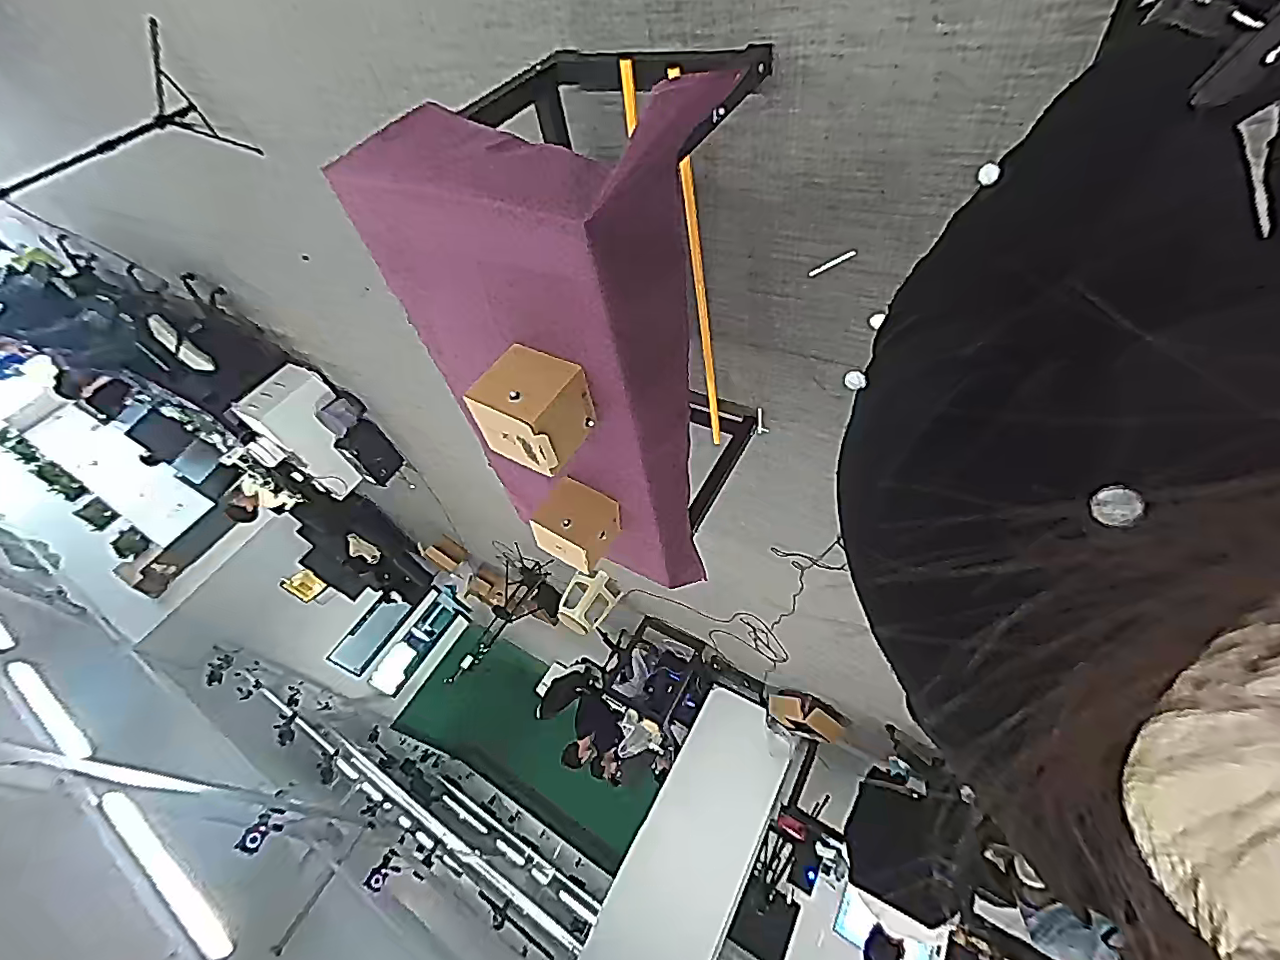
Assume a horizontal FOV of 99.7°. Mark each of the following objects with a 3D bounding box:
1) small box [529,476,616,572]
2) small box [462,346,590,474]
[{"bbox_3d":[-0.175,0.116,1.479,0.179,0.176,0.168,27,151,15],"label":"small box"},{"bbox_3d":[-0.218,-0.147,1.098,0.179,0.176,0.168,24,151,23],"label":"small box"}]
